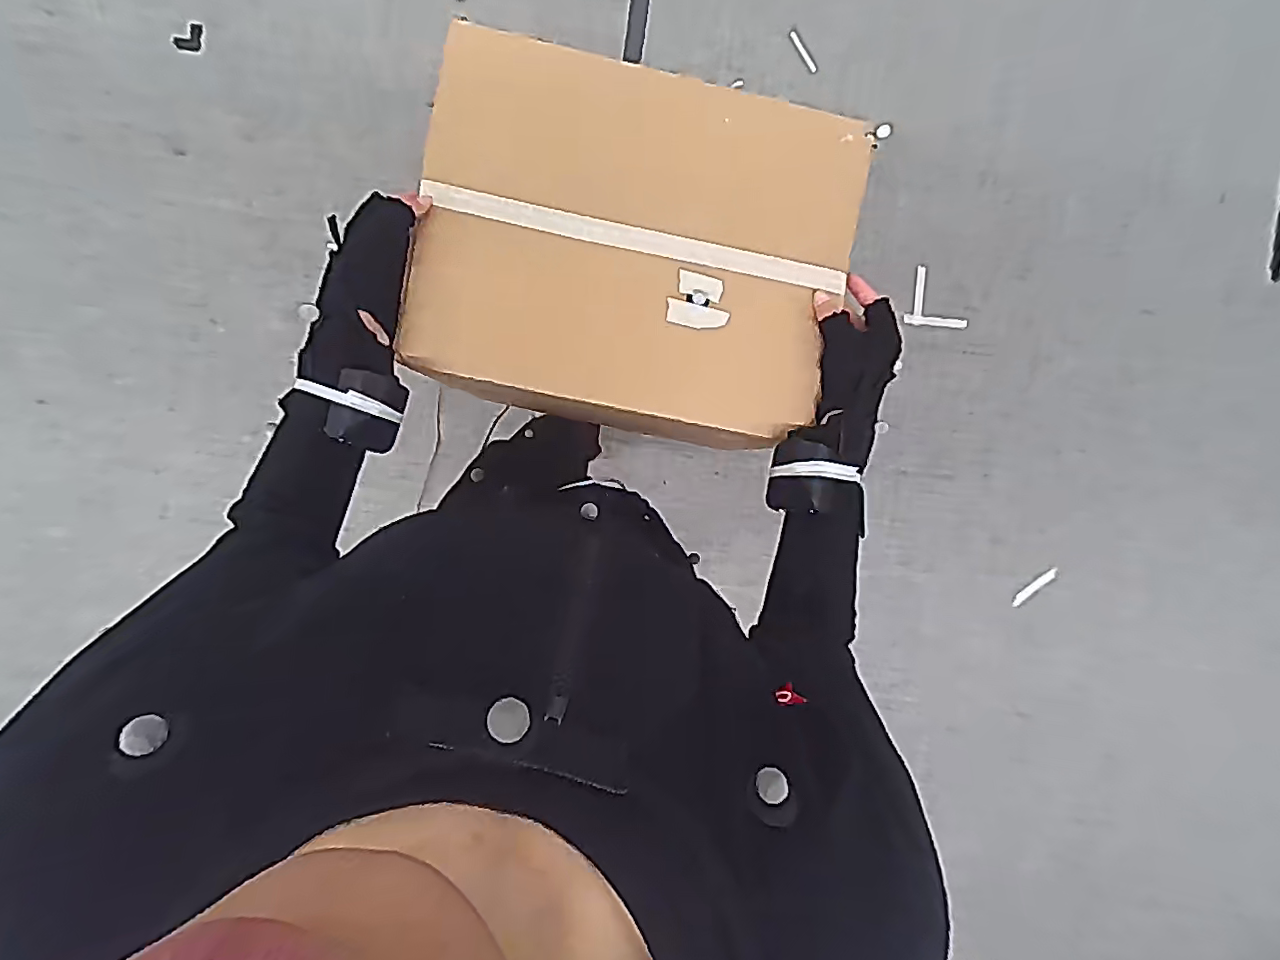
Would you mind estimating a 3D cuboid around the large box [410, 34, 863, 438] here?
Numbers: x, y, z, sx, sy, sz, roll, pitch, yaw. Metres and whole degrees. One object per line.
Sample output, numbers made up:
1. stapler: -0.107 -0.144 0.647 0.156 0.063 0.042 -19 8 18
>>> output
1. large box: -0.011 -0.241 0.671 0.408 0.320 0.320 11 93 -4
